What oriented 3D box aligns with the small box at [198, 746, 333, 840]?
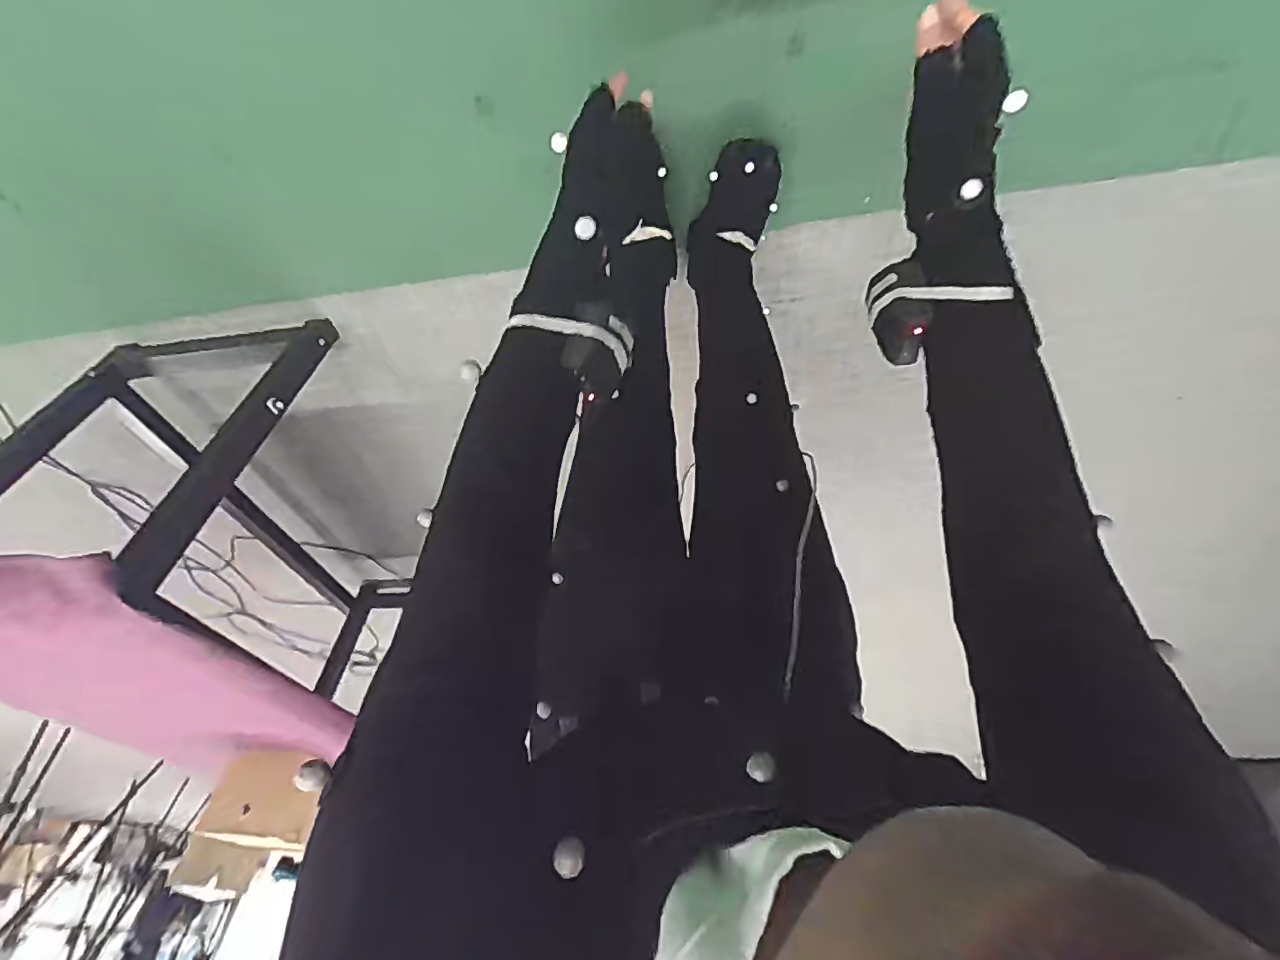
[{"bbox_3d":[-0.842,0.720,1.244,0.179,0.176,0.168,-5,141,8],"label":"small box"}]
